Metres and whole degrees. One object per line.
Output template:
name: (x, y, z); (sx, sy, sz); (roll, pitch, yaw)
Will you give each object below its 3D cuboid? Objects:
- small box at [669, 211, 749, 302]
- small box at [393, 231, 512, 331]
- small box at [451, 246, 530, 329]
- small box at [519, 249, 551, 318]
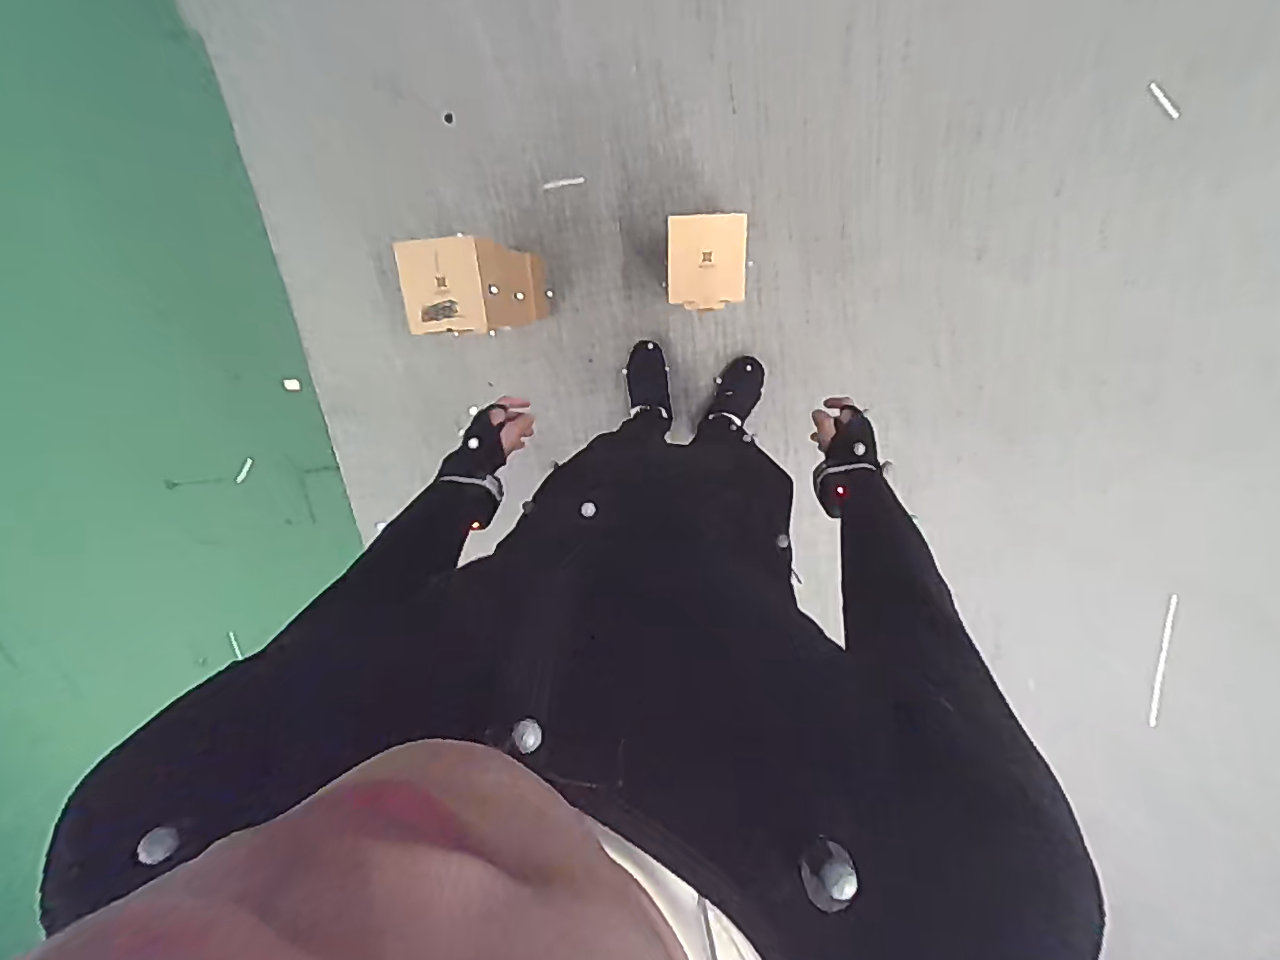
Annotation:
small box: (0.149, -0.494, 1.213); (0.168, 0.176, 0.179); (1, 110, 5)
small box: (-0.377, -0.411, 1.124); (0.168, 0.176, 0.179); (-1, 109, 7)
small box: (-0.369, -0.458, 1.282); (0.168, 0.176, 0.179); (0, 111, 6)
small box: (-0.348, -0.516, 1.433); (0.179, 0.176, 0.168); (0, 110, 6)
